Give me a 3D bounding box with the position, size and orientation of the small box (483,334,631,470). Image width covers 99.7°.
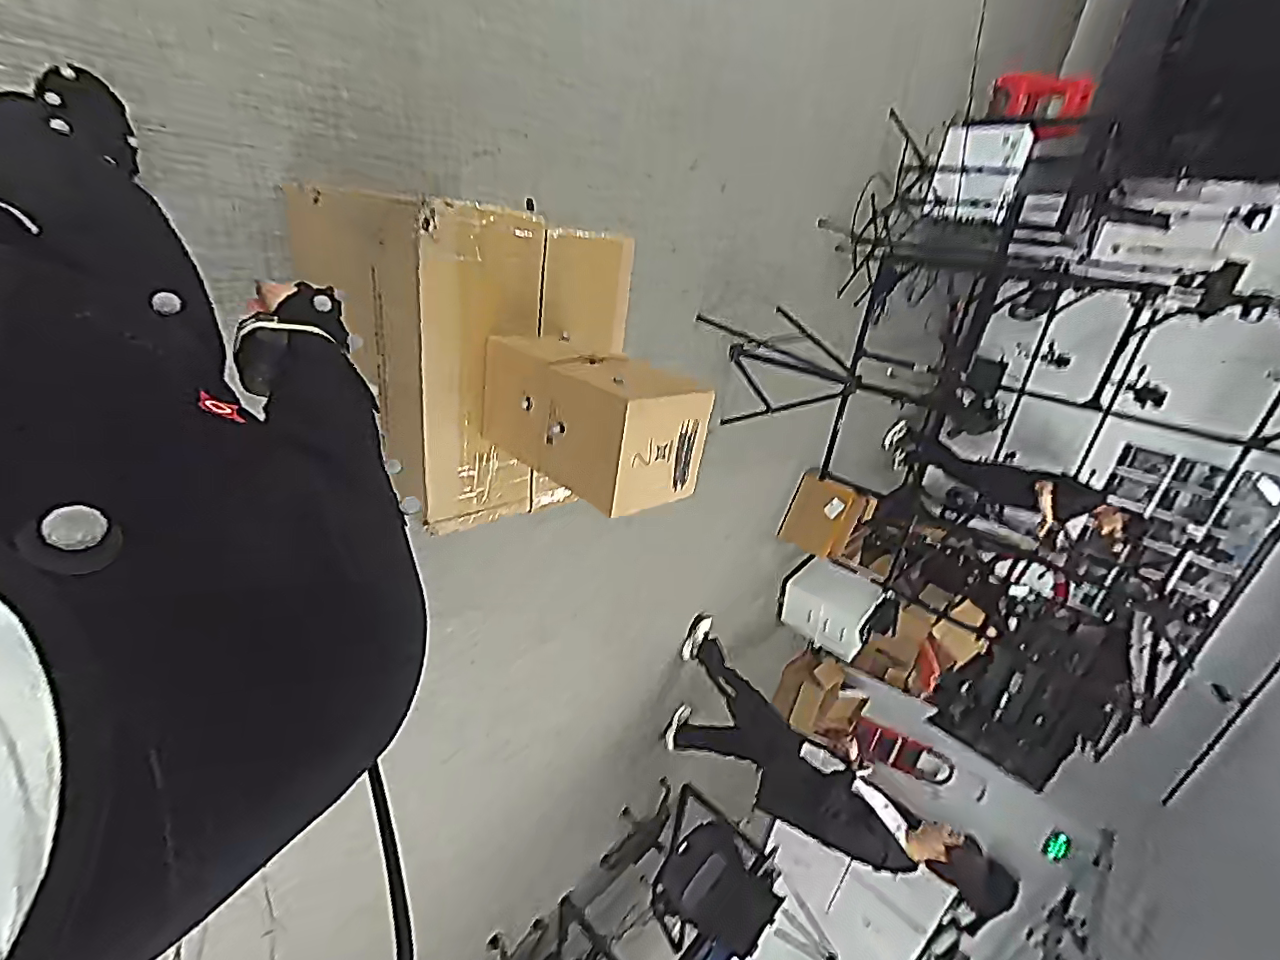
[{"bbox_3d":[-0.141,-0.136,0.885,0.168,0.176,0.179,-14,122,-45],"label":"small box"}]
